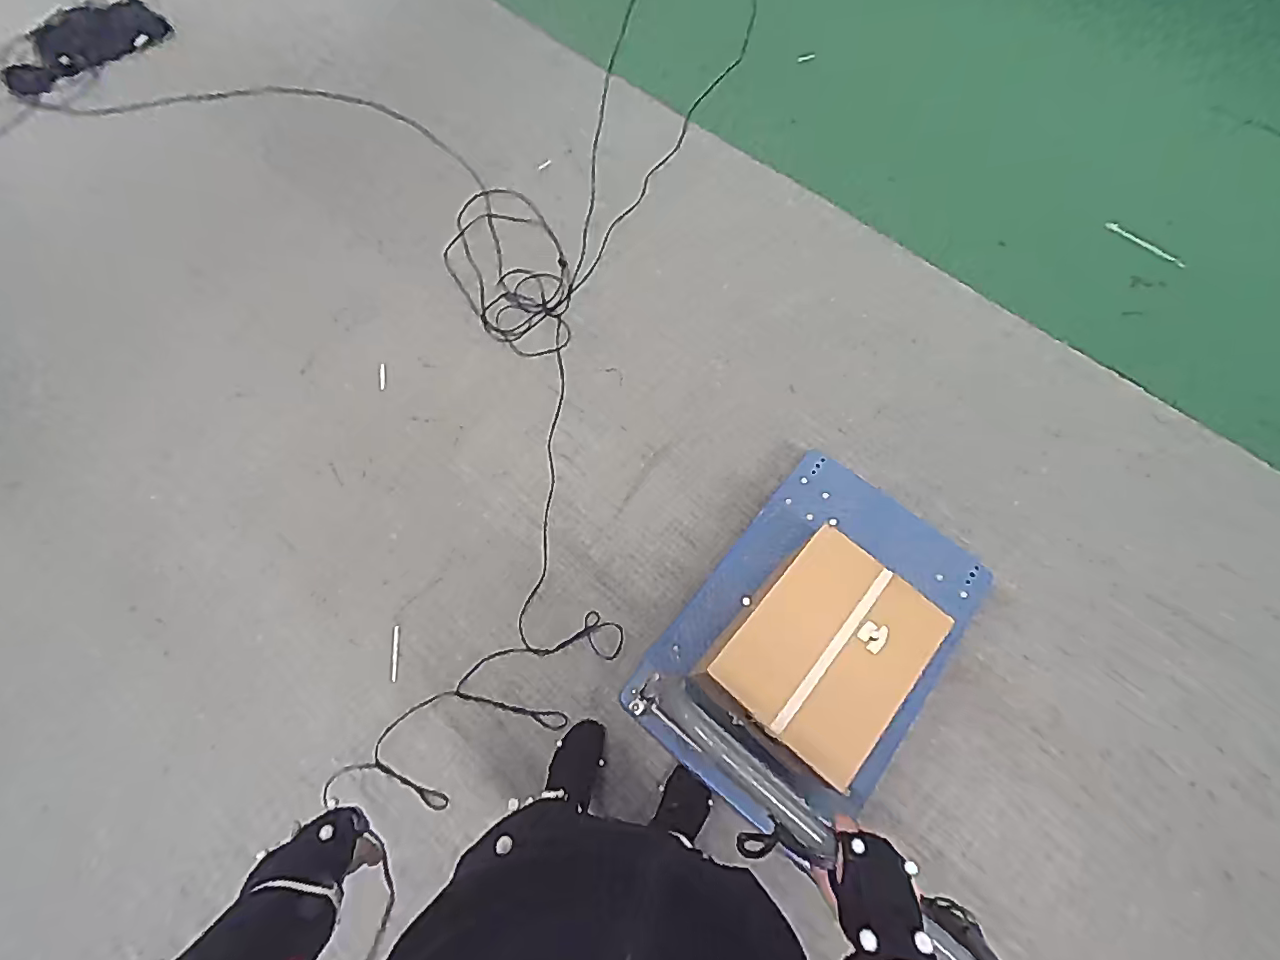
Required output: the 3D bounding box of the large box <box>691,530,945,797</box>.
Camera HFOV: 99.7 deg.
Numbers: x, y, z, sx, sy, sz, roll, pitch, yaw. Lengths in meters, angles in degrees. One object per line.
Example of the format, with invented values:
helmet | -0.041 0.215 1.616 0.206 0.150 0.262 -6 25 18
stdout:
large box | 0.362 0.393 1.183 0.320 0.320 0.408 40 71 13
